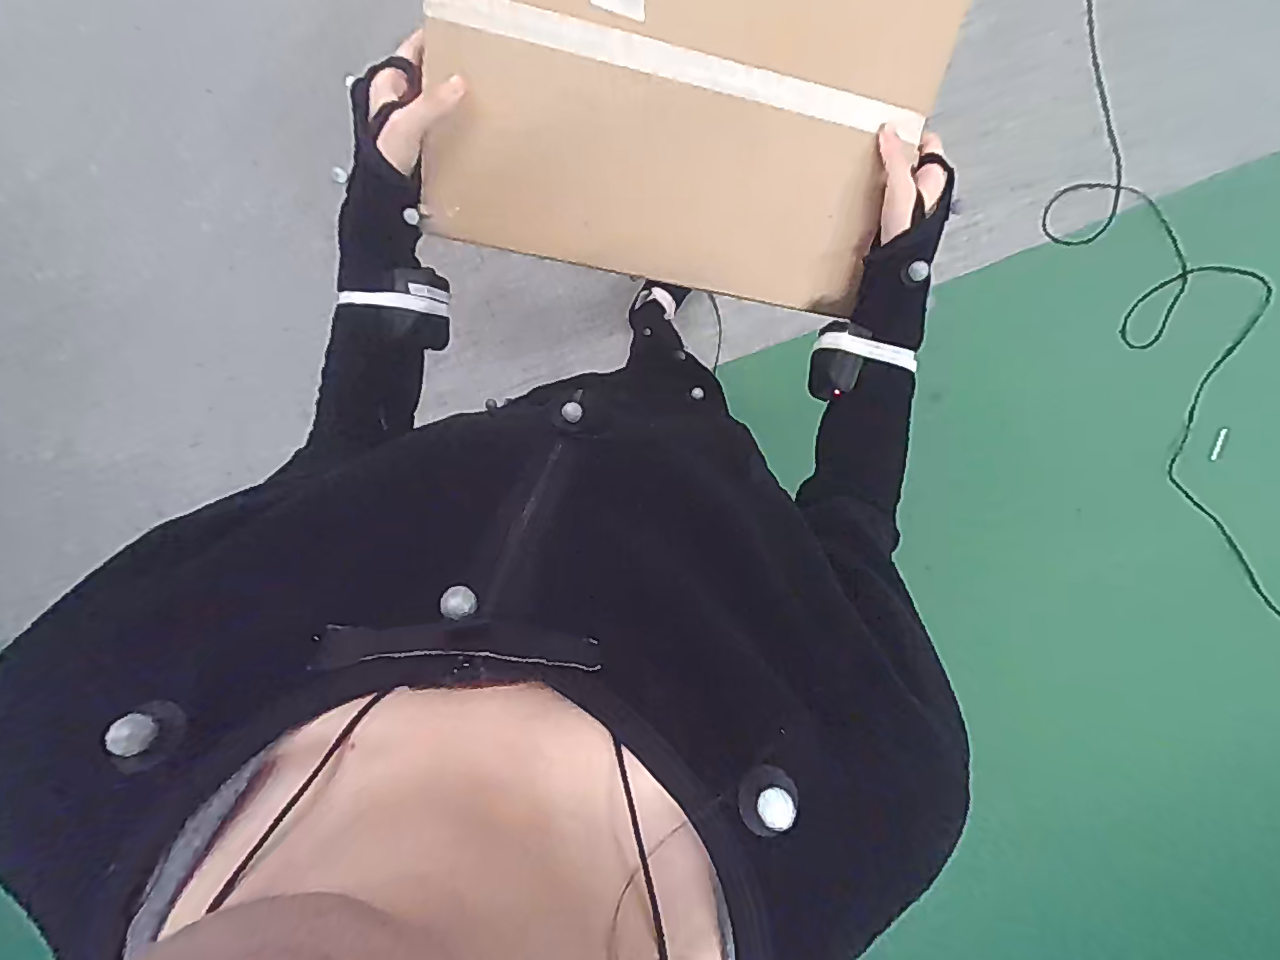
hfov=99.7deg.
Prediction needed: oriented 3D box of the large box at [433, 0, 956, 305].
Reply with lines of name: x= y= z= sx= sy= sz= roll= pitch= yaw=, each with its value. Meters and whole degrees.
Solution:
large box: x=0.031 y=-0.400 z=0.571 sx=0.408 sy=0.320 sz=0.320 roll=9 pitch=115 yaw=-9
